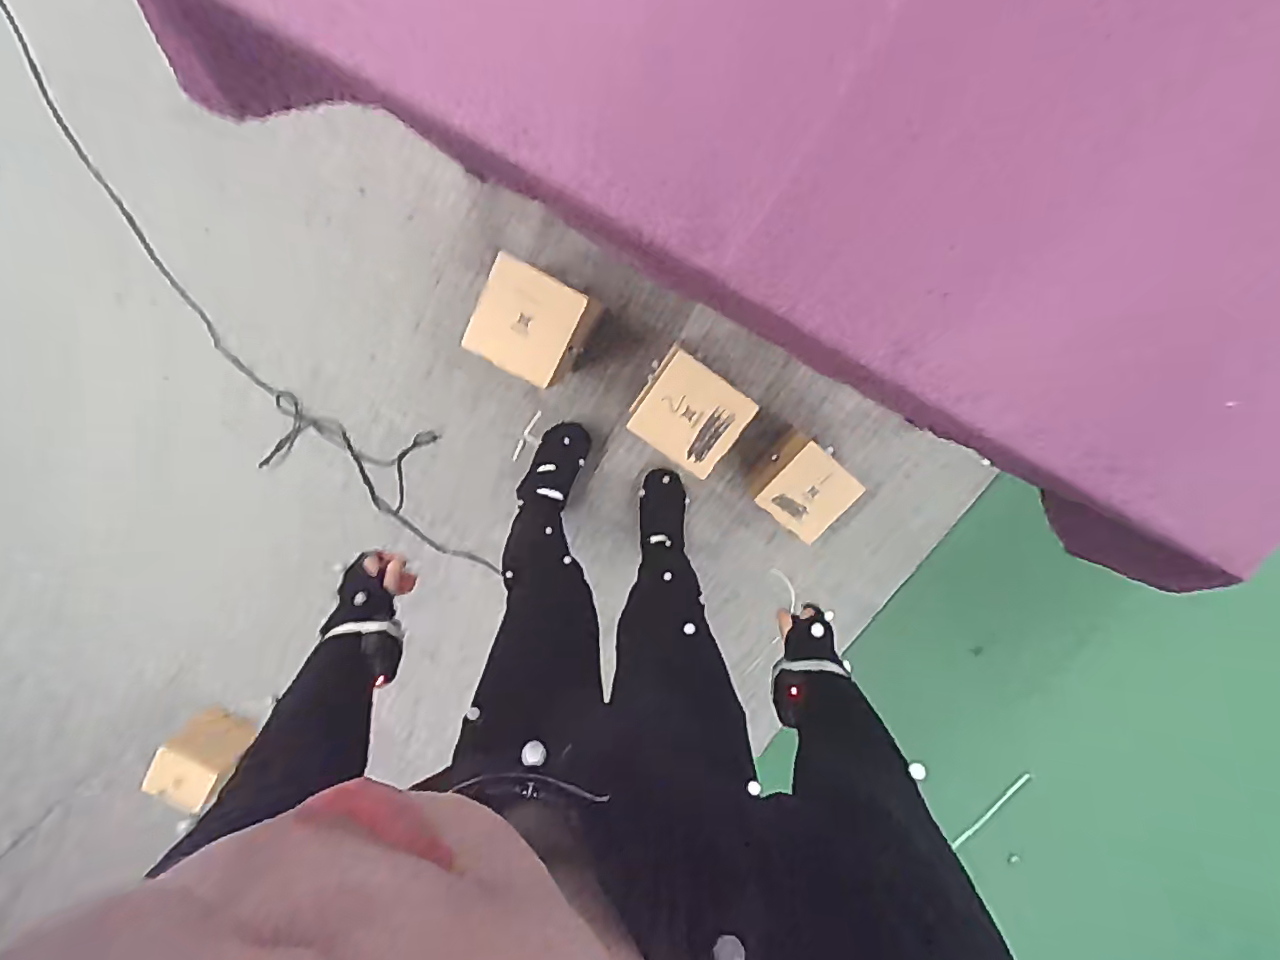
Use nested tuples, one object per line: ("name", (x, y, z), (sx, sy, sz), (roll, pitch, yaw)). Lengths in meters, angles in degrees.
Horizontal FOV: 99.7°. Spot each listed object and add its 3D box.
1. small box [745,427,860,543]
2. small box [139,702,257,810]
("small box", (0.354, 0.005, 1.224), (0.168, 0.176, 0.179), (40, 103, -9))
("small box", (-1.229, 0.767, 1.518), (0.168, 0.176, 0.179), (34, 104, -6))
